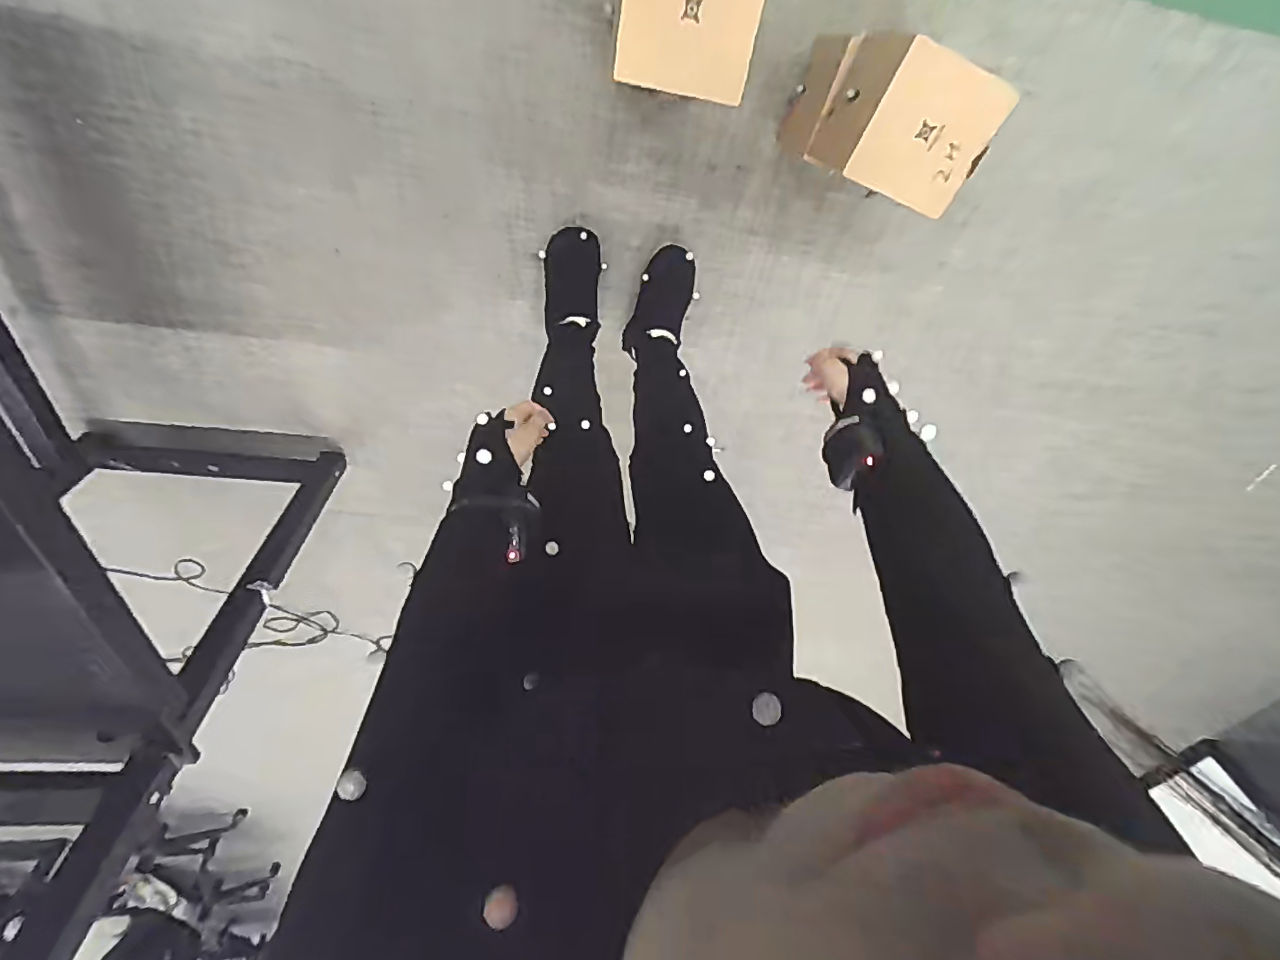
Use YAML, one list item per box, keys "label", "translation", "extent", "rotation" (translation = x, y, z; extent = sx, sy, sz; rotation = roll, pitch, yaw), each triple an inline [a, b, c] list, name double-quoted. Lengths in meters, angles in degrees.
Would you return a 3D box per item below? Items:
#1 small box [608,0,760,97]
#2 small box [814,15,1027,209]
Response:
- label: "small box"
  translation: [0.053, -0.602, 0.671]
  extent: [0.168, 0.176, 0.179]
  rotation: [5, 127, -8]
- label: "small box"
  translation: [0.377, -0.517, 0.767]
  extent: [0.179, 0.176, 0.168]
  rotation: [14, 128, -16]
